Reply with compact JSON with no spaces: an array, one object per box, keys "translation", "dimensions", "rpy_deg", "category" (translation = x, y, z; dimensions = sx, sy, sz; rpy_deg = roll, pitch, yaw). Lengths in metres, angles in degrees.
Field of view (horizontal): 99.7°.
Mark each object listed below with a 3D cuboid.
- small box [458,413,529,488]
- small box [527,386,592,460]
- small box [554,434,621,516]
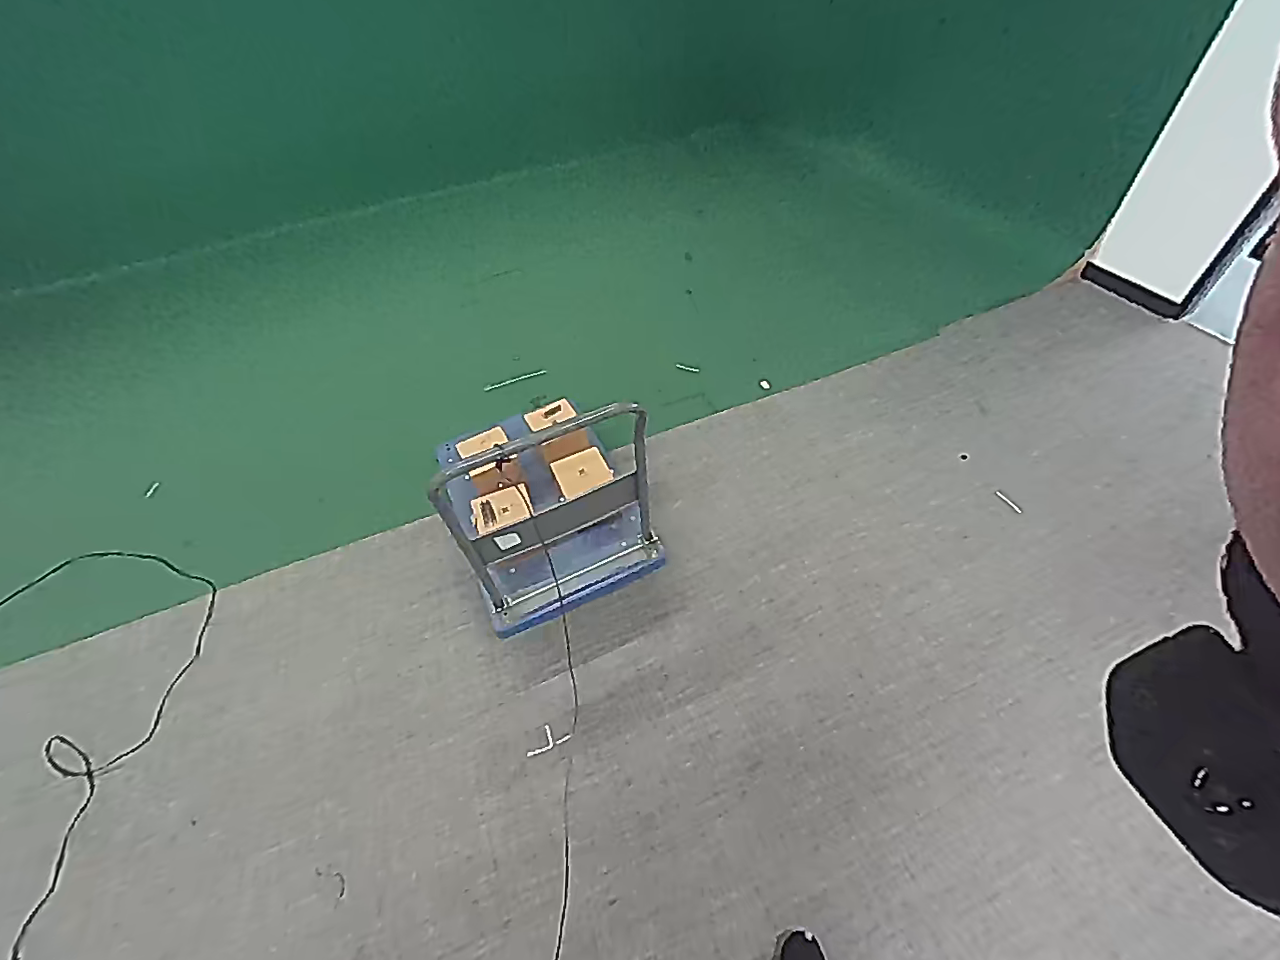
[{"translation":[-0.504,-0.094,1.880],"dimensions":[0.168,0.176,0.179],"rpy_deg":[-25,53,-15],"category":"small box"},{"translation":[-0.285,-0.201,1.943],"dimensions":[0.168,0.176,0.179],"rpy_deg":[-26,55,-14],"category":"small box"},{"translation":[-0.172,-0.014,1.784],"dimensions":[0.168,0.176,0.179],"rpy_deg":[-22,53,-11],"category":"small box"}]
